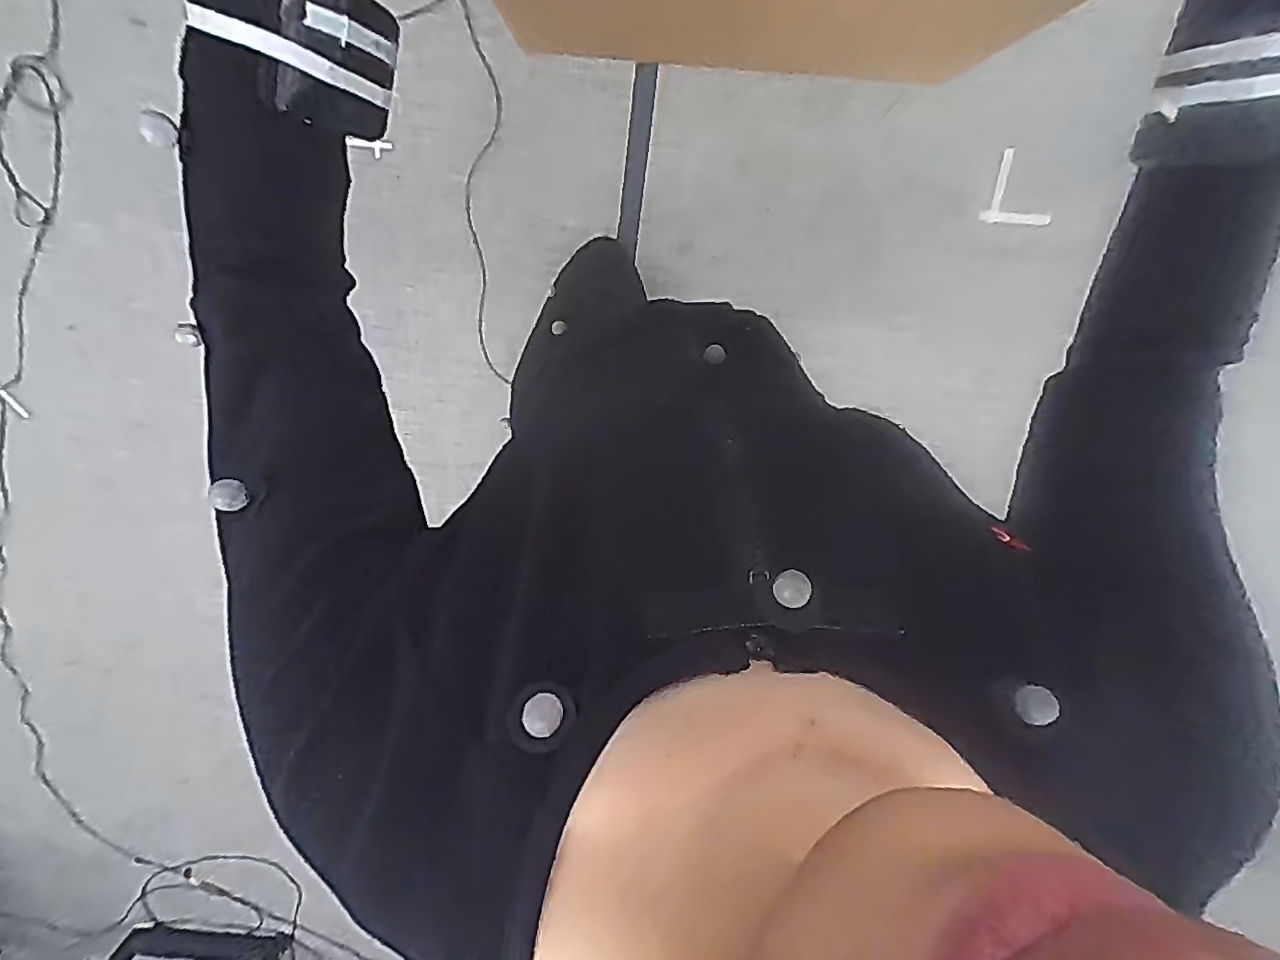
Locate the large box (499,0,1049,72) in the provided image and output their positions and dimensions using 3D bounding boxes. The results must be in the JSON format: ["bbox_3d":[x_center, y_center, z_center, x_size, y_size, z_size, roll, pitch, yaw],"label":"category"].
[{"bbox_3d":[0.095,-0.475,0.312,0.408,0.320,0.320,2,113,-2],"label":"large box"}]
